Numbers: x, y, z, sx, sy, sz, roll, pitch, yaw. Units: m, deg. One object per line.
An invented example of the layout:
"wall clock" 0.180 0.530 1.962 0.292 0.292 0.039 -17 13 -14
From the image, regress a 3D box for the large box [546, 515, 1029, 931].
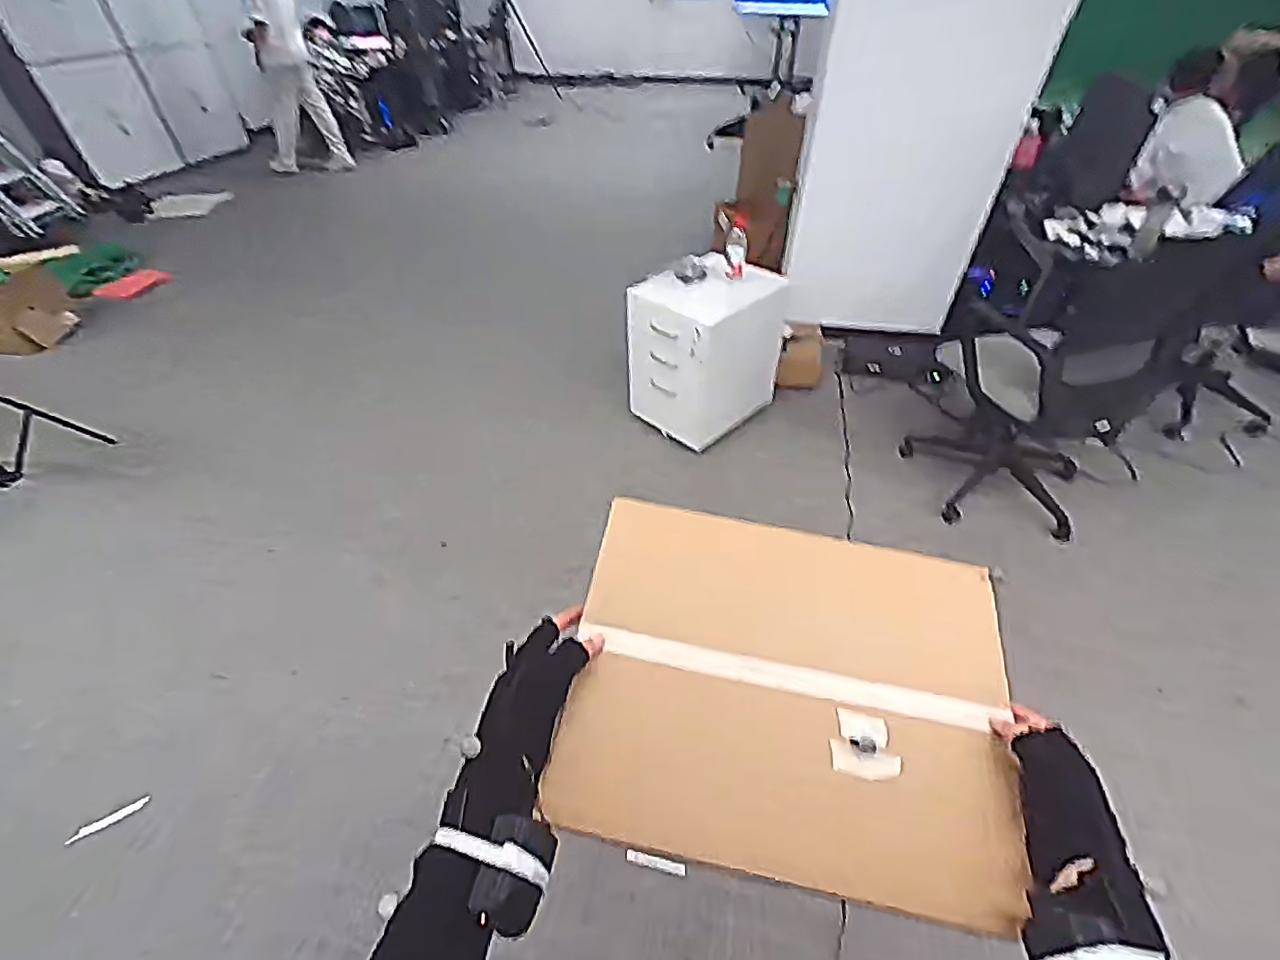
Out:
"large box" 0.134 0.277 0.643 0.408 0.320 0.320 11 58 5
